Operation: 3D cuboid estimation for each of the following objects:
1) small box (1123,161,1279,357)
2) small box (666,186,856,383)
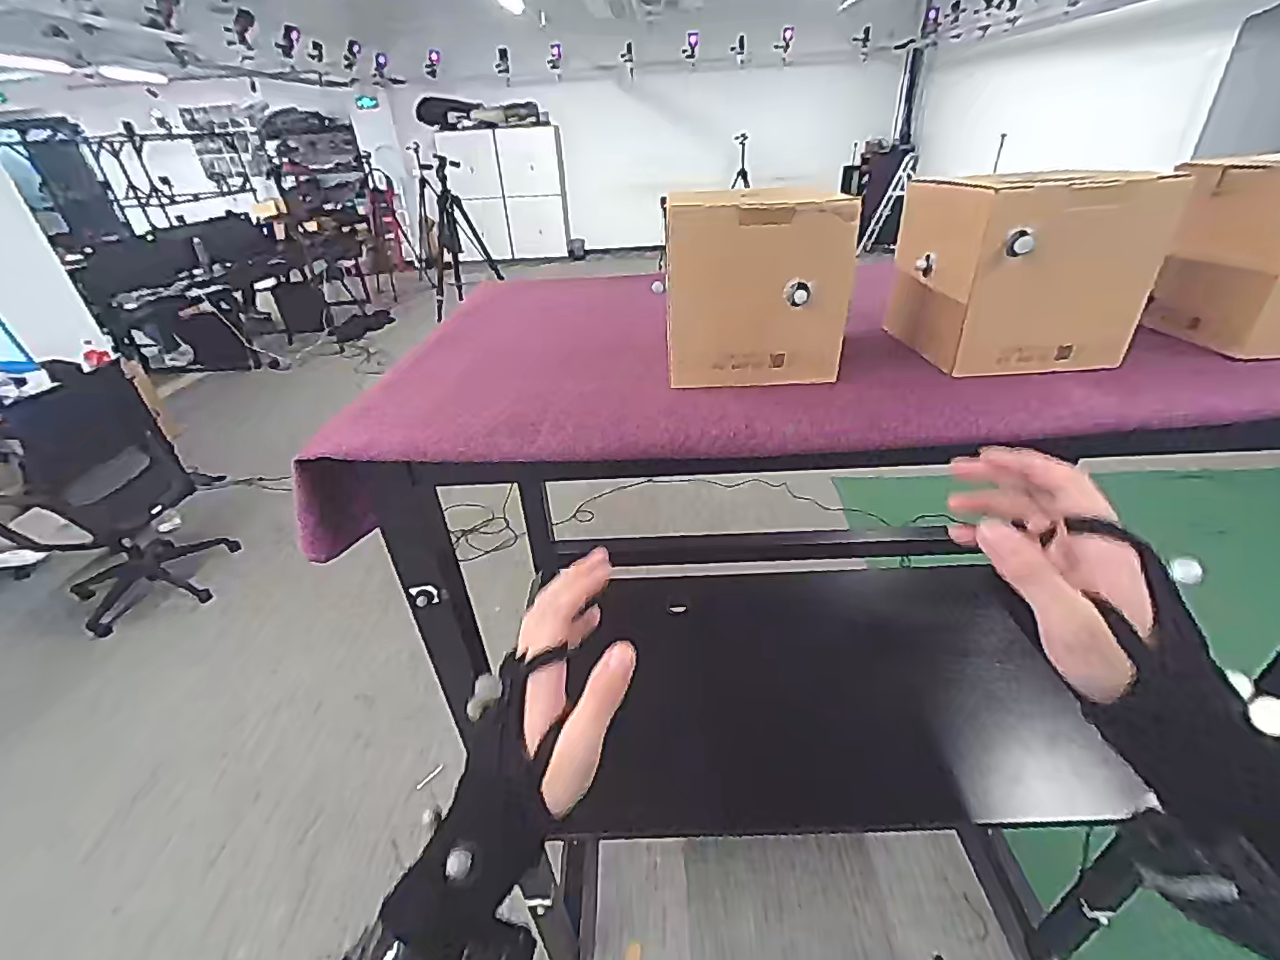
[{"bbox_3d":[0.664,-0.233,0.566,0.179,0.176,0.168,-2,32,2],"label":"small box"},{"bbox_3d":[0.112,-0.210,0.578,0.168,0.176,0.179,-1,32,2],"label":"small box"}]
